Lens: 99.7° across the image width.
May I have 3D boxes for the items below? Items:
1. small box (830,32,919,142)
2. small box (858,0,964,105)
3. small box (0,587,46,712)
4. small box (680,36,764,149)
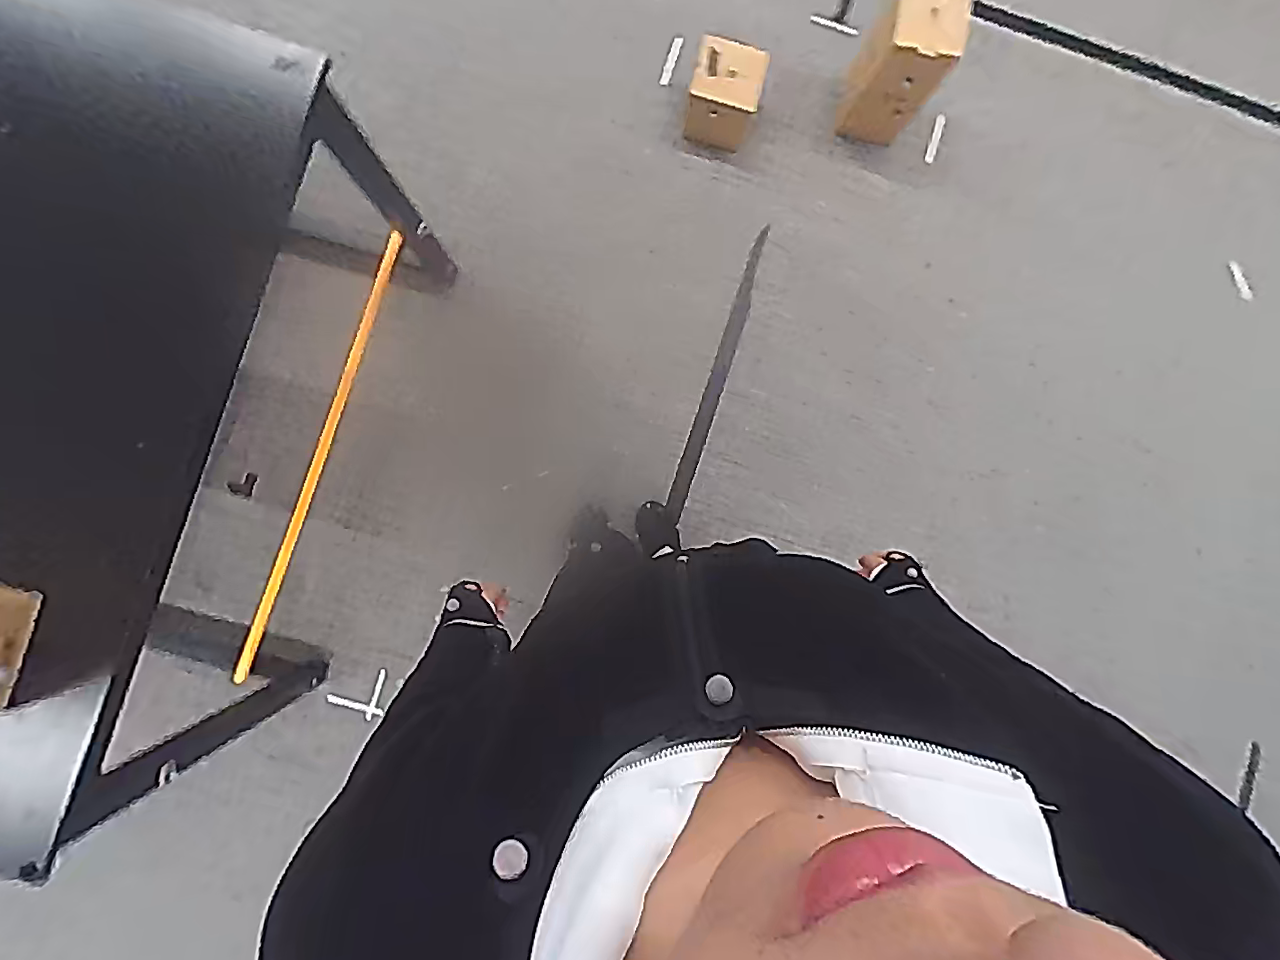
[{"bbox_3d":[0.655,-1.075,1.494,0.179,0.176,0.168,11,88,-3],"label":"small box"},{"bbox_3d":[0.659,-1.072,1.330,0.168,0.176,0.179,10,89,-3],"label":"small box"},{"bbox_3d":[-0.903,0.215,0.647,0.179,0.176,0.168,14,88,-3],"label":"small box"},{"bbox_3d":[0.215,-1.042,1.468,0.179,0.176,0.168,14,88,-3],"label":"small box"}]
